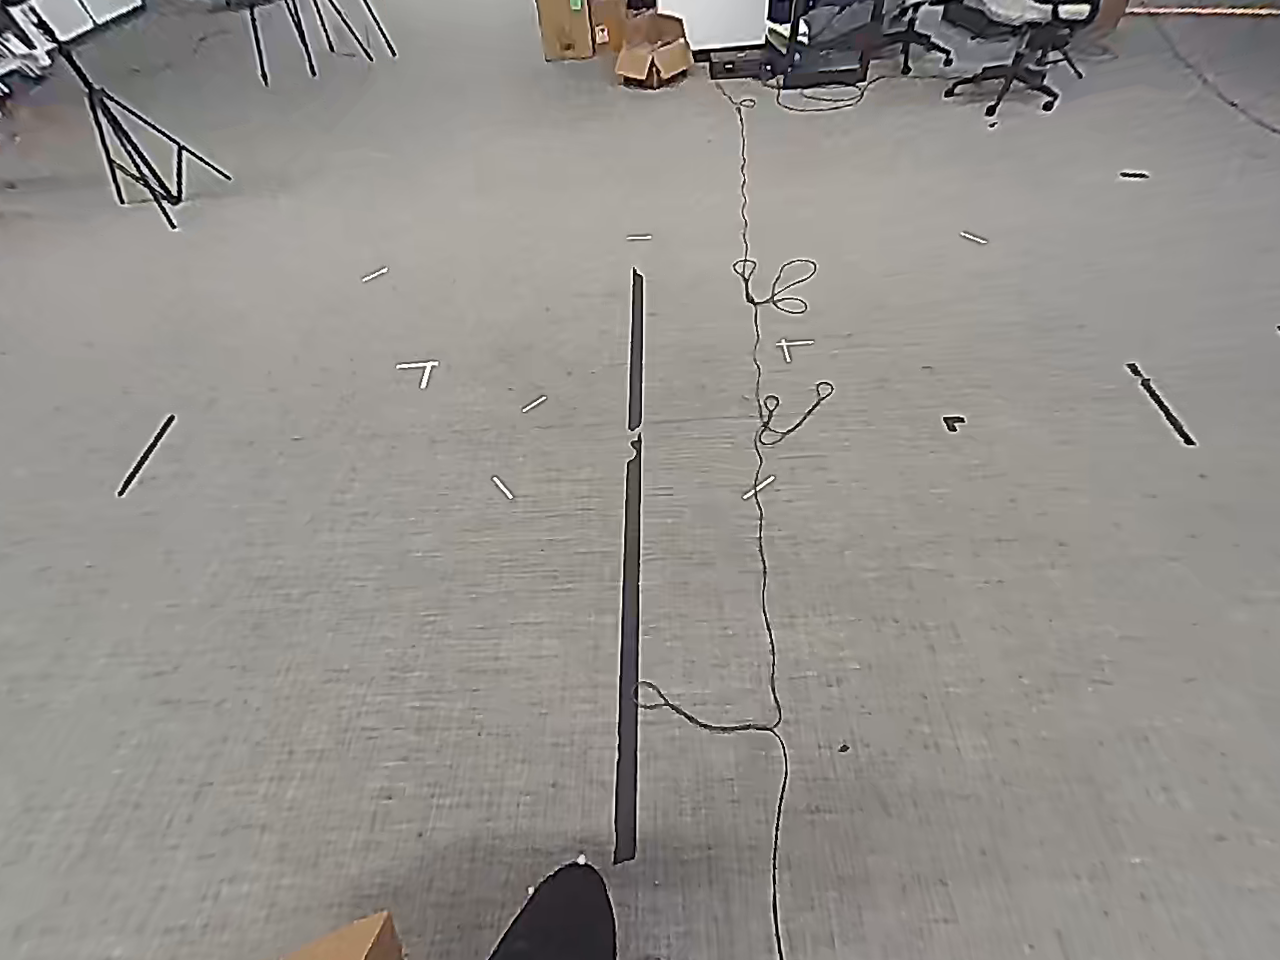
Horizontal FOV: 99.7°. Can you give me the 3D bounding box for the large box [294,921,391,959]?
[{"bbox_3d":[-0.444,0.815,0.578,0.320,0.408,0.320,-21,83,-12],"label":"large box"}]
